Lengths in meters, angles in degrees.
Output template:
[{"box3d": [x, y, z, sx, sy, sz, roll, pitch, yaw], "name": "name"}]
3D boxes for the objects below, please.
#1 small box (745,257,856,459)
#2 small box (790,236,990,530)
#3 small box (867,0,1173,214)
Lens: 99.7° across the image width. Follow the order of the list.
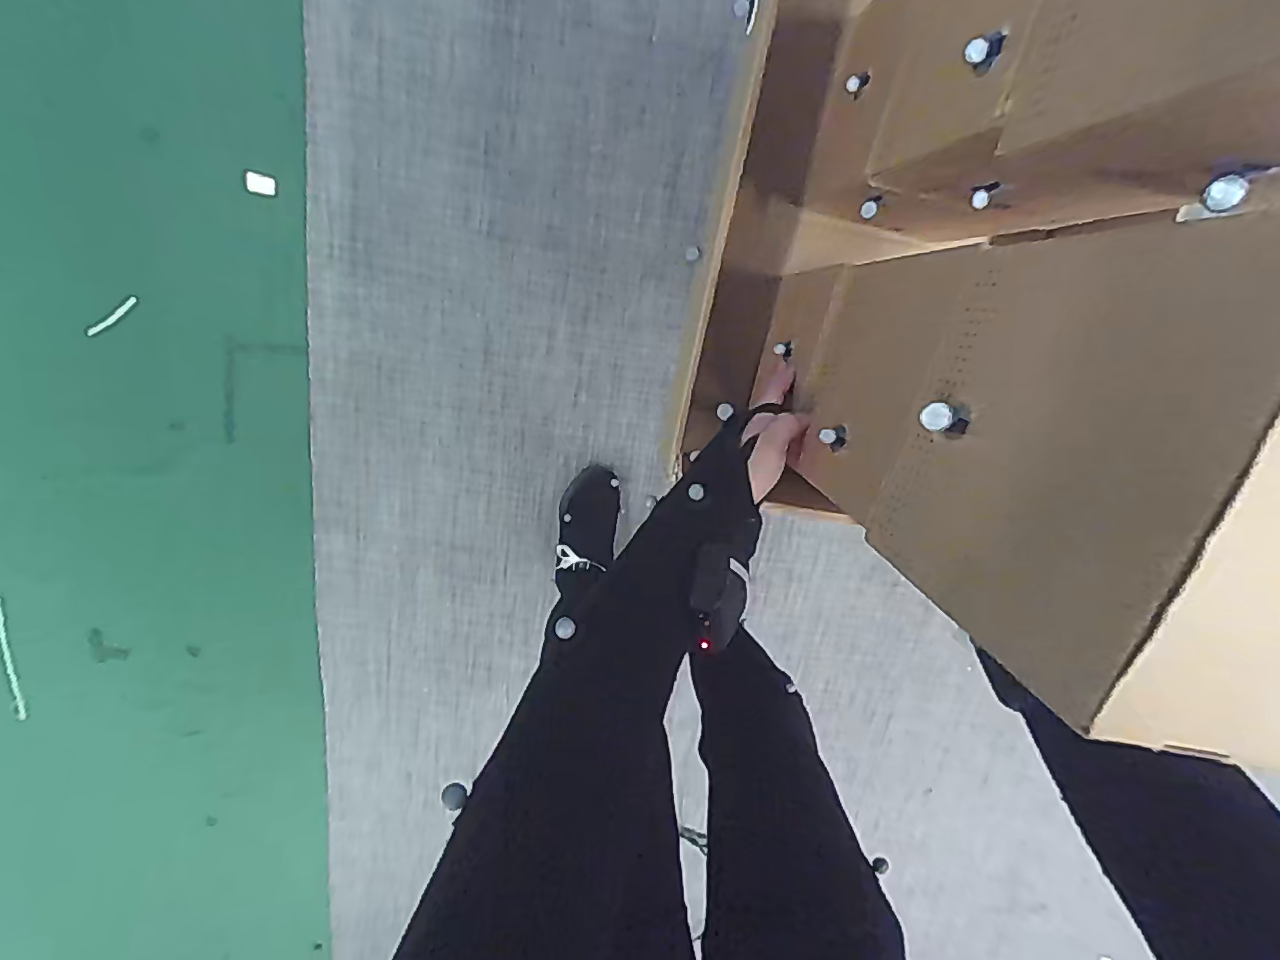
[{"box3d": [0.218, -0.113, 0.555, 0.168, 0.176, 0.179, 10, 106, -6], "name": "small box"}, {"box3d": [0.228, -0.060, 0.402, 0.168, 0.176, 0.179, 12, 106, -7], "name": "small box"}, {"box3d": [0.270, -0.283, 0.336, 0.168, 0.176, 0.179, 9, 110, -5], "name": "small box"}]
